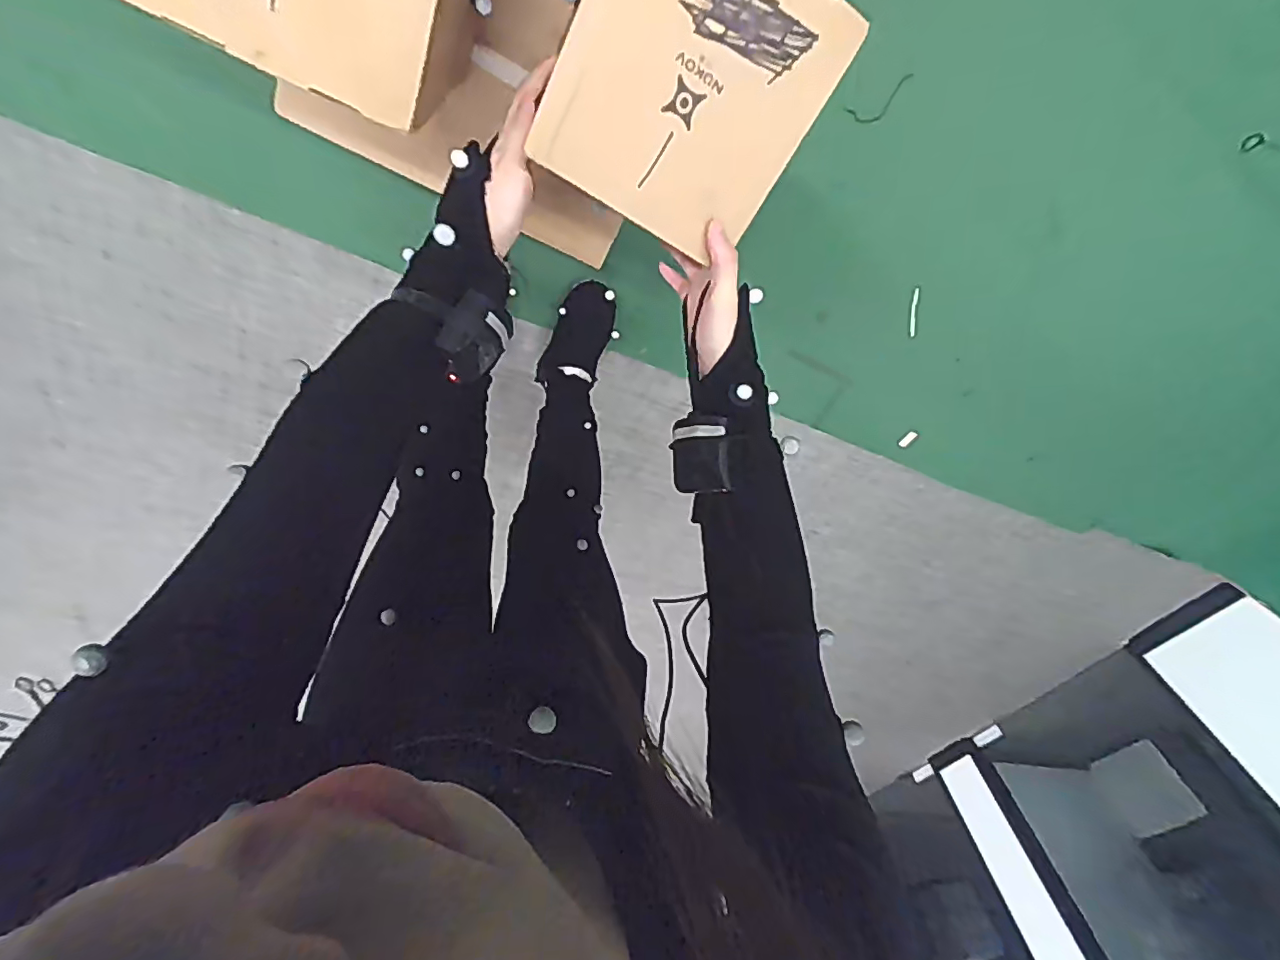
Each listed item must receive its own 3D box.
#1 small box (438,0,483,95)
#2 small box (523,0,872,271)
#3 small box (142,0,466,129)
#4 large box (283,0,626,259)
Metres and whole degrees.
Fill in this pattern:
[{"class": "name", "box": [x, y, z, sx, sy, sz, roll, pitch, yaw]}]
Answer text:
[{"class": "small box", "box": [-0.216, -0.468, 0.451, 0.168, 0.176, 0.179, 18, 125, -23]}, {"class": "small box", "box": [0.024, -0.296, 0.406, 0.168, 0.176, 0.179, 23, 120, -23]}, {"class": "small box", "box": [-0.195, -0.358, 0.329, 0.168, 0.176, 0.179, 17, 125, -22]}, {"class": "large box", "box": [-0.175, -0.558, 0.701, 0.408, 0.320, 0.320, 17, 126, -23]}]
